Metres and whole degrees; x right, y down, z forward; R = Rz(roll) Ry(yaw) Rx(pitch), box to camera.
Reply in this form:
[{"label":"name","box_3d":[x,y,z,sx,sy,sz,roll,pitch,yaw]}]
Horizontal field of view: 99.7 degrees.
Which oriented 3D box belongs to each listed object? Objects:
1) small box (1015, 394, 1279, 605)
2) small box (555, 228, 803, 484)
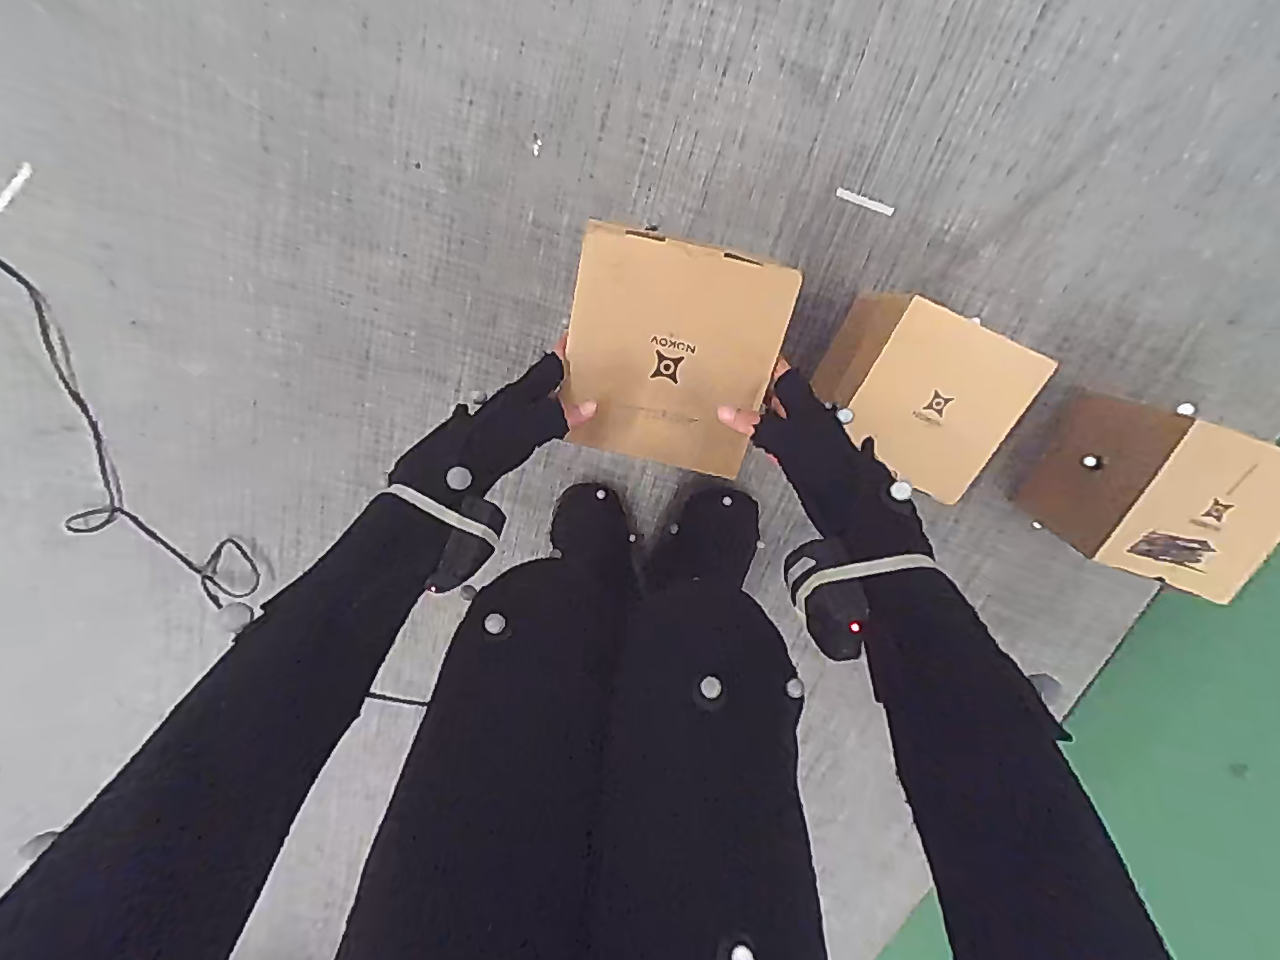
[{"label":"small box","box_3d":[0.606,0.014,0.657,0.168,0.176,0.179,19,110,-3]},{"label":"small box","box_3d":[0.028,-0.123,0.500,0.168,0.176,0.179,13,116,-1]}]
